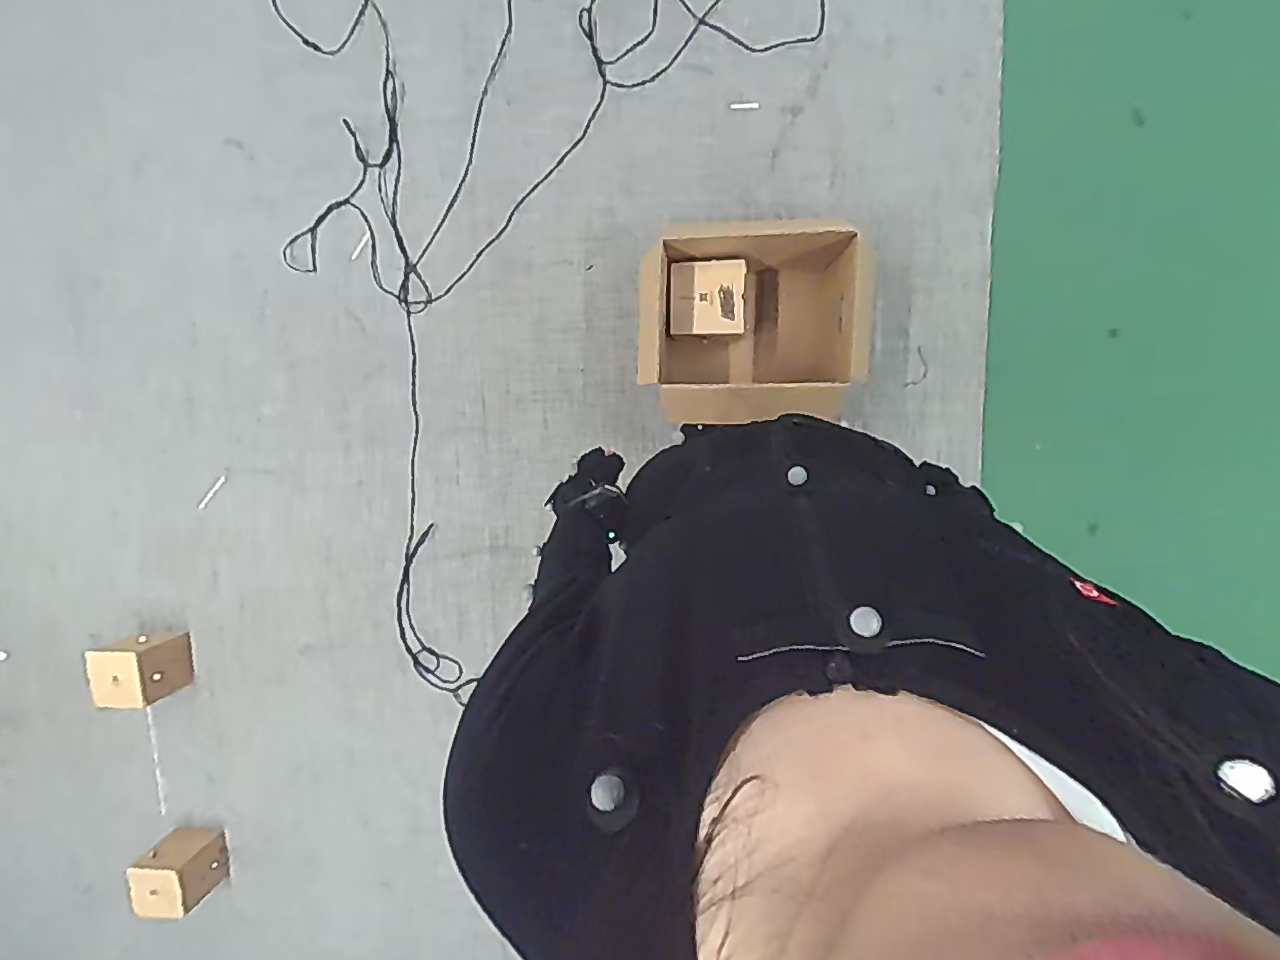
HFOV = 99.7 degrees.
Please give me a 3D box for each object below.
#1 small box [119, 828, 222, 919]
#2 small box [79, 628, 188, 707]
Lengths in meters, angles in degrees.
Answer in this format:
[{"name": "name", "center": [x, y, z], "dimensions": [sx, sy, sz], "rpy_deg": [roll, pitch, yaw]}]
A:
[{"name": "small box", "center": [-1.482, 1.239, 1.715], "dimensions": [0.179, 0.176, 0.168], "rpy_deg": [-1, 97, 6]}, {"name": "small box", "center": [-1.521, 0.560, 1.634], "dimensions": [0.168, 0.176, 0.179], "rpy_deg": [-1, 97, 5]}]
